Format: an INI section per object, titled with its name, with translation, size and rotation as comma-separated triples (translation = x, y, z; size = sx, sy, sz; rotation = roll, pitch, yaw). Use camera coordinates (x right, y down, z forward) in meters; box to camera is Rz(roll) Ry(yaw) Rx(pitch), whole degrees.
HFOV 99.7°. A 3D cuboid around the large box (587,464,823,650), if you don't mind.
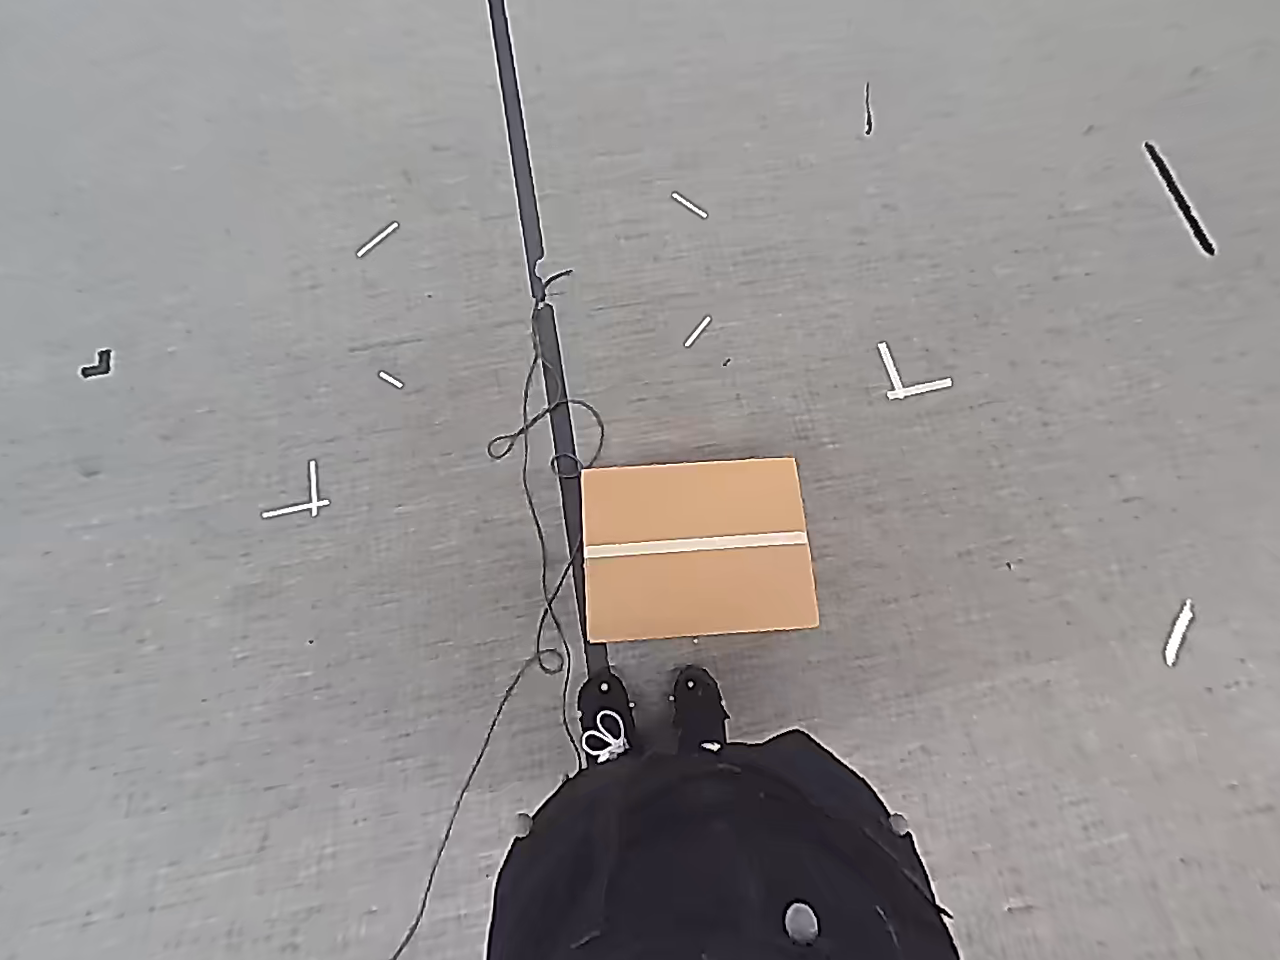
[large box]
translation = 0.108, 0.170, 1.117
size = 0.408, 0.320, 0.320
rotation = -3, 76, -2
